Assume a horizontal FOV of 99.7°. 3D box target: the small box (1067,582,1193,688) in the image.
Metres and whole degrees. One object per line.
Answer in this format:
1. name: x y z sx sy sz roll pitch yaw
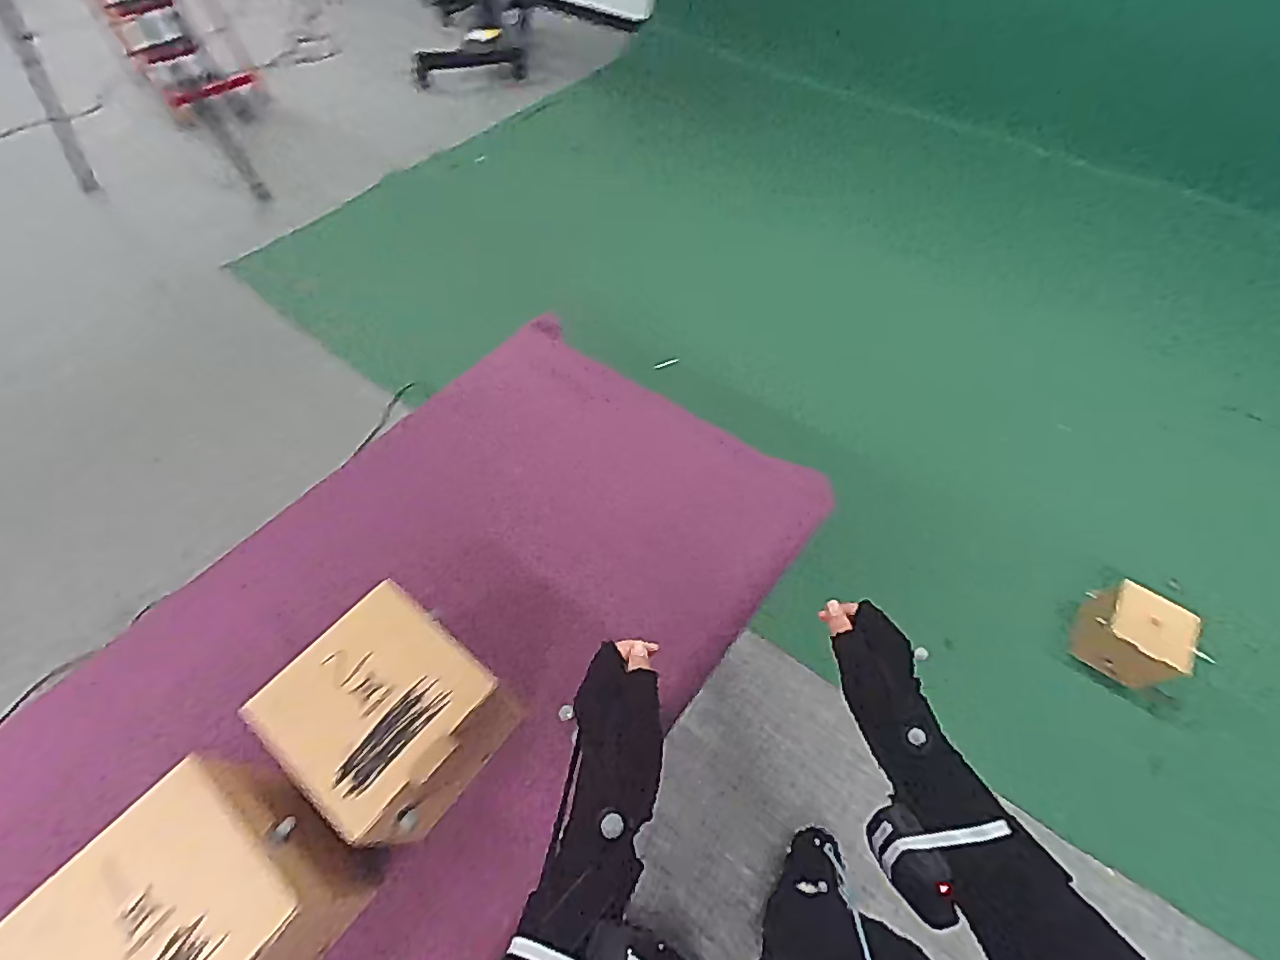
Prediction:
1. small box: 1.246 0.400 1.385 0.168 0.176 0.179 32 62 19
